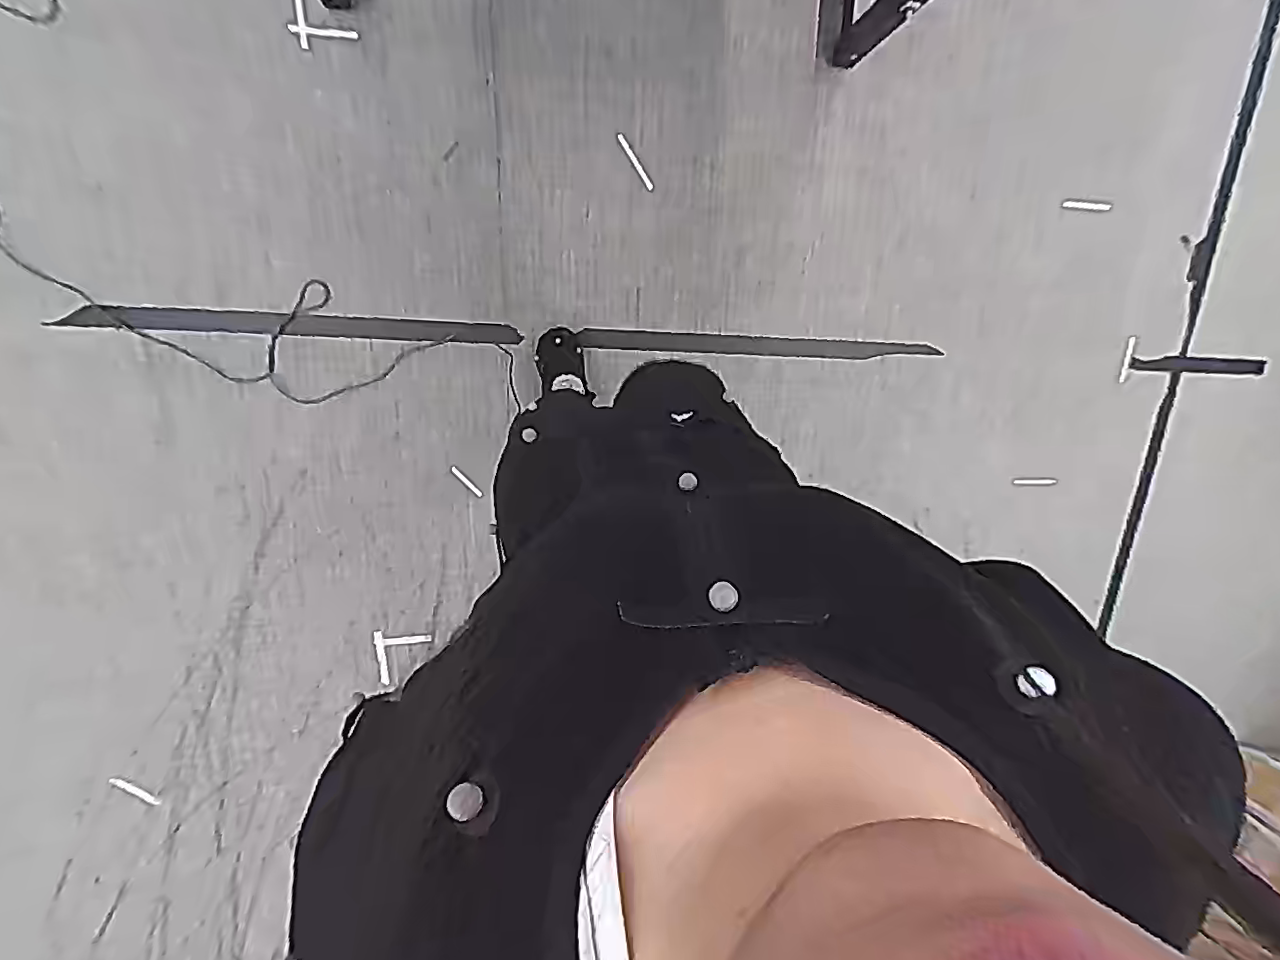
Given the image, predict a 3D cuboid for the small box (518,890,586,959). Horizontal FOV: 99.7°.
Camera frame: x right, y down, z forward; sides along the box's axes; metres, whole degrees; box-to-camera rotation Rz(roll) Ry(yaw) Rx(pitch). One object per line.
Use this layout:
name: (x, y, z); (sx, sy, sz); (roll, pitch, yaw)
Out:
small box: (-0.240, 1.263, 1.475); (0.179, 0.176, 0.168); (-1, 105, -8)
